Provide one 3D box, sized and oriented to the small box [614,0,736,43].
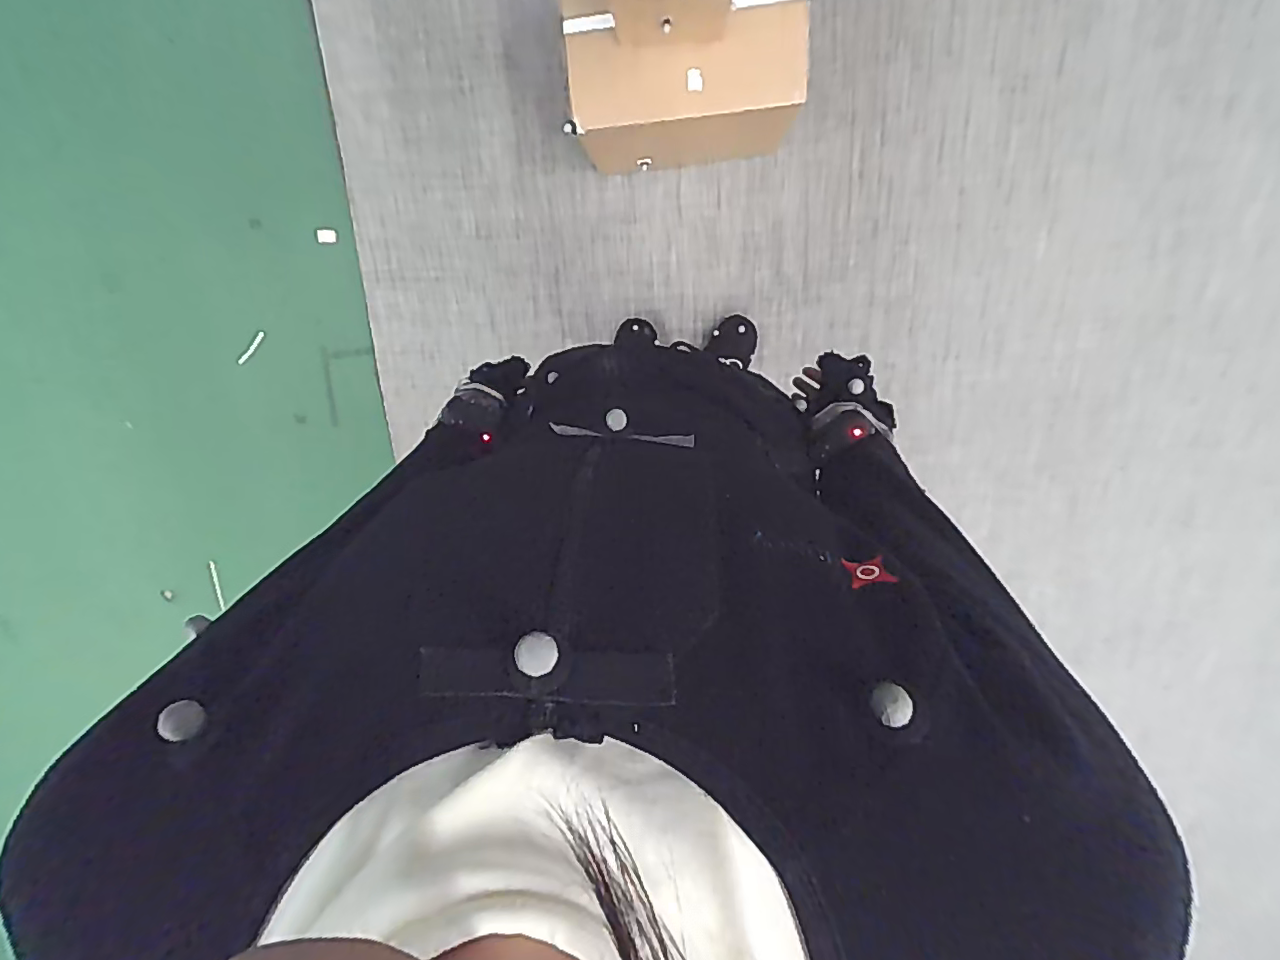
[{"bbox_3d":[0.050,-0.778,0.796,0.179,0.176,0.168,-2,113,6],"label":"small box"}]
